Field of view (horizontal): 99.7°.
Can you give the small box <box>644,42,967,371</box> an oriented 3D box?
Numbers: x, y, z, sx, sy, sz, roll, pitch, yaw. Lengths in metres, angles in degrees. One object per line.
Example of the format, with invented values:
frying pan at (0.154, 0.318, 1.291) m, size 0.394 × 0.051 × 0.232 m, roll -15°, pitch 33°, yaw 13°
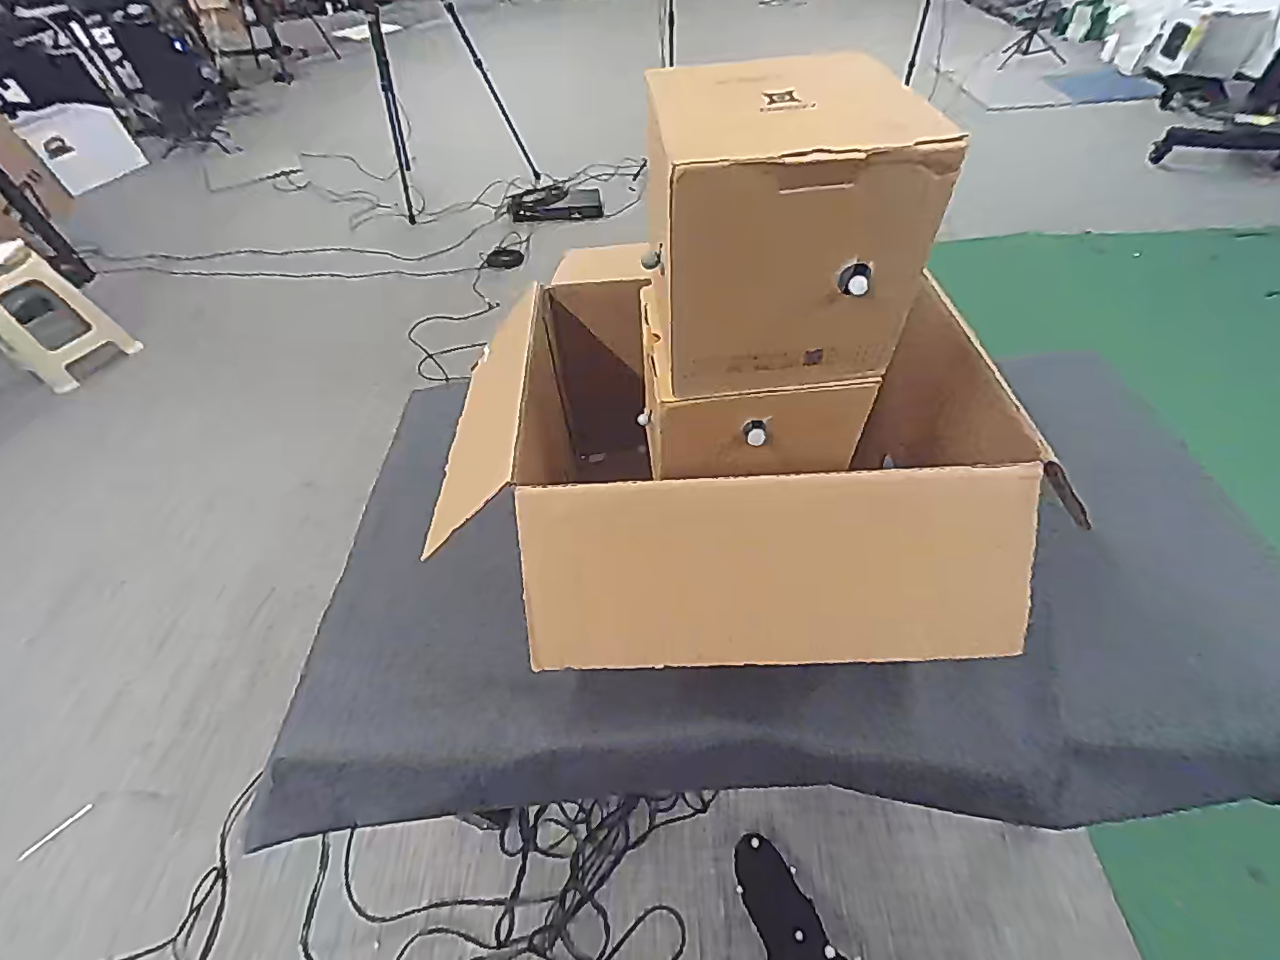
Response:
small box at (0.094, -0.195, 0.403) m, size 0.168 × 0.176 × 0.179 m, roll -5°, pitch 50°, yaw -2°
